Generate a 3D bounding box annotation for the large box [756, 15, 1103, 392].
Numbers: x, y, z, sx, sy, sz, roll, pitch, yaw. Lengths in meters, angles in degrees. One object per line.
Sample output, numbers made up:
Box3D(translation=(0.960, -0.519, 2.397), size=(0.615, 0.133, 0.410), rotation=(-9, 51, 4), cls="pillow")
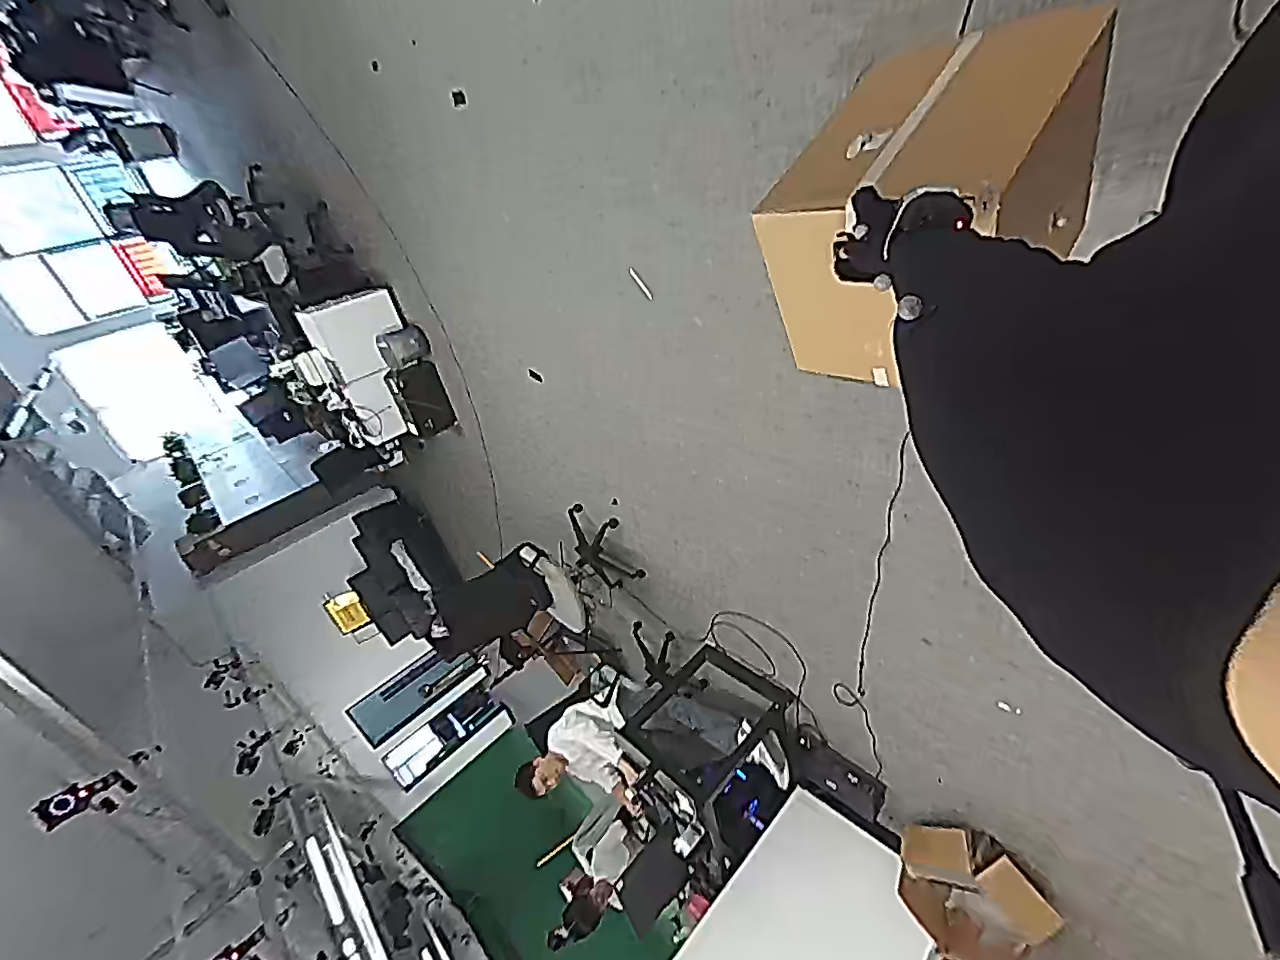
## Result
Box3D(translation=(0.448, -0.406, 0.845), size=(0.320, 0.408, 0.320), rotation=(21, 158, 42), cls="large box")
